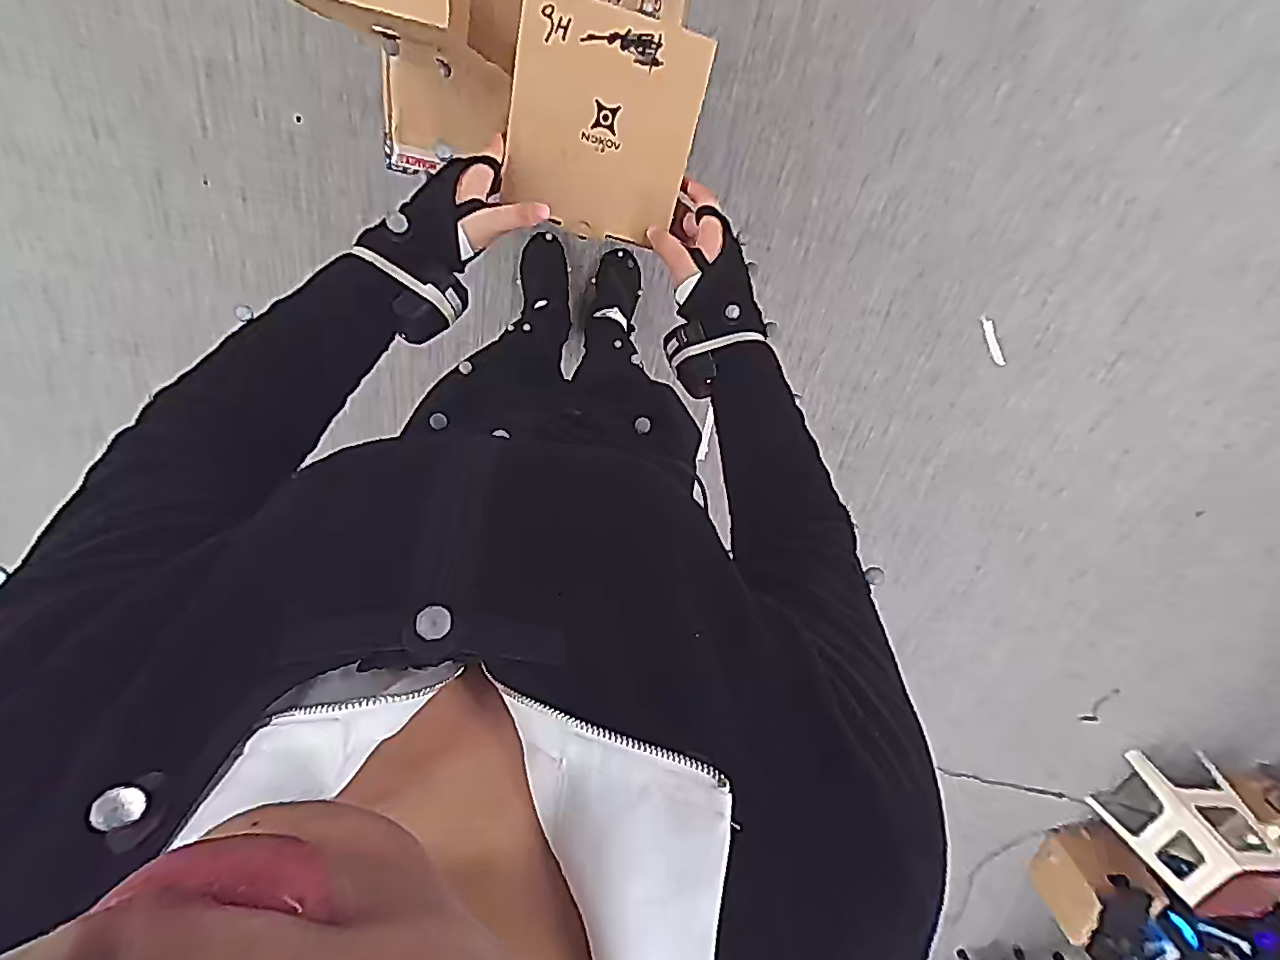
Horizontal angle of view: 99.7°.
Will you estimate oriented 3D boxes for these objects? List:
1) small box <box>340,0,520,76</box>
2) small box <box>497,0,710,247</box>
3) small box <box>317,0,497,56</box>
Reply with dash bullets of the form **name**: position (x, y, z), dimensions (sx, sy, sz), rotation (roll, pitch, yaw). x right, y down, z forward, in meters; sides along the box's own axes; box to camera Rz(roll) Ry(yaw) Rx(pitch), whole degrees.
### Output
- **small box**: position (-0.226, -0.589, 0.608), dimensions (0.168, 0.176, 0.179), rotation (10, 119, -7)
- **small box**: position (-0.042, -0.364, 0.559), dimensions (0.168, 0.176, 0.179), rotation (11, 119, -11)
- **small box**: position (-0.219, -0.506, 0.468), dimensions (0.168, 0.176, 0.179), rotation (10, 120, -7)
